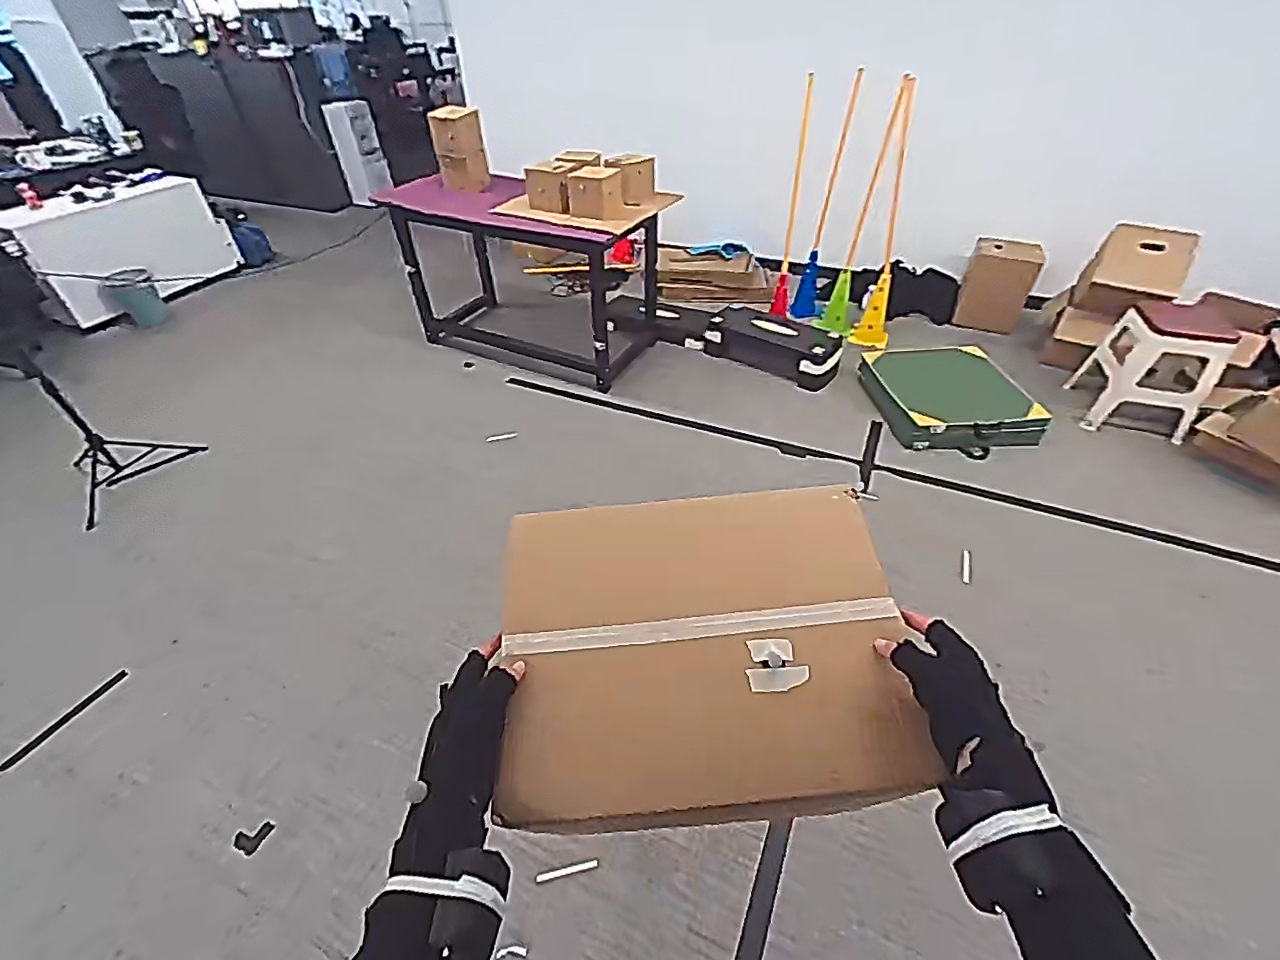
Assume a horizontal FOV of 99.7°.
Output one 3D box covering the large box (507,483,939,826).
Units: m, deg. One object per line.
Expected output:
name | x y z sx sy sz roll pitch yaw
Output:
large box | 0.068 0.233 0.691 0.408 0.320 0.320 -5 56 0
